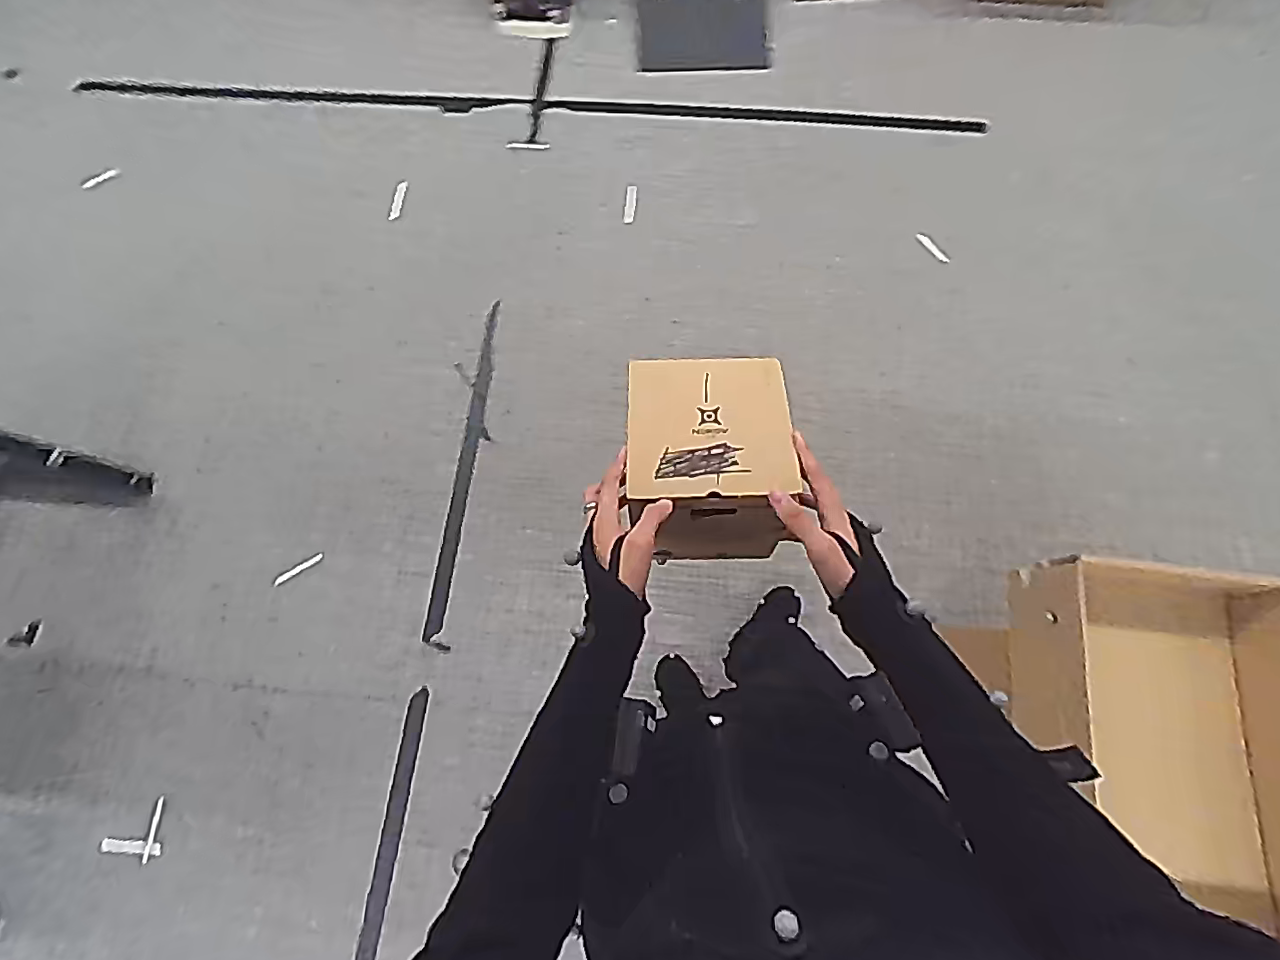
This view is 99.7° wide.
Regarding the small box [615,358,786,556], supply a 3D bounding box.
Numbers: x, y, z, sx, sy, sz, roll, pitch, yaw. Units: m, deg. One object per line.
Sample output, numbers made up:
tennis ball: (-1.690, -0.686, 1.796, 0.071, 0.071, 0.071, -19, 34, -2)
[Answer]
small box: (0.060, -0.016, 0.619, 0.168, 0.176, 0.179, -2, 64, 1)
